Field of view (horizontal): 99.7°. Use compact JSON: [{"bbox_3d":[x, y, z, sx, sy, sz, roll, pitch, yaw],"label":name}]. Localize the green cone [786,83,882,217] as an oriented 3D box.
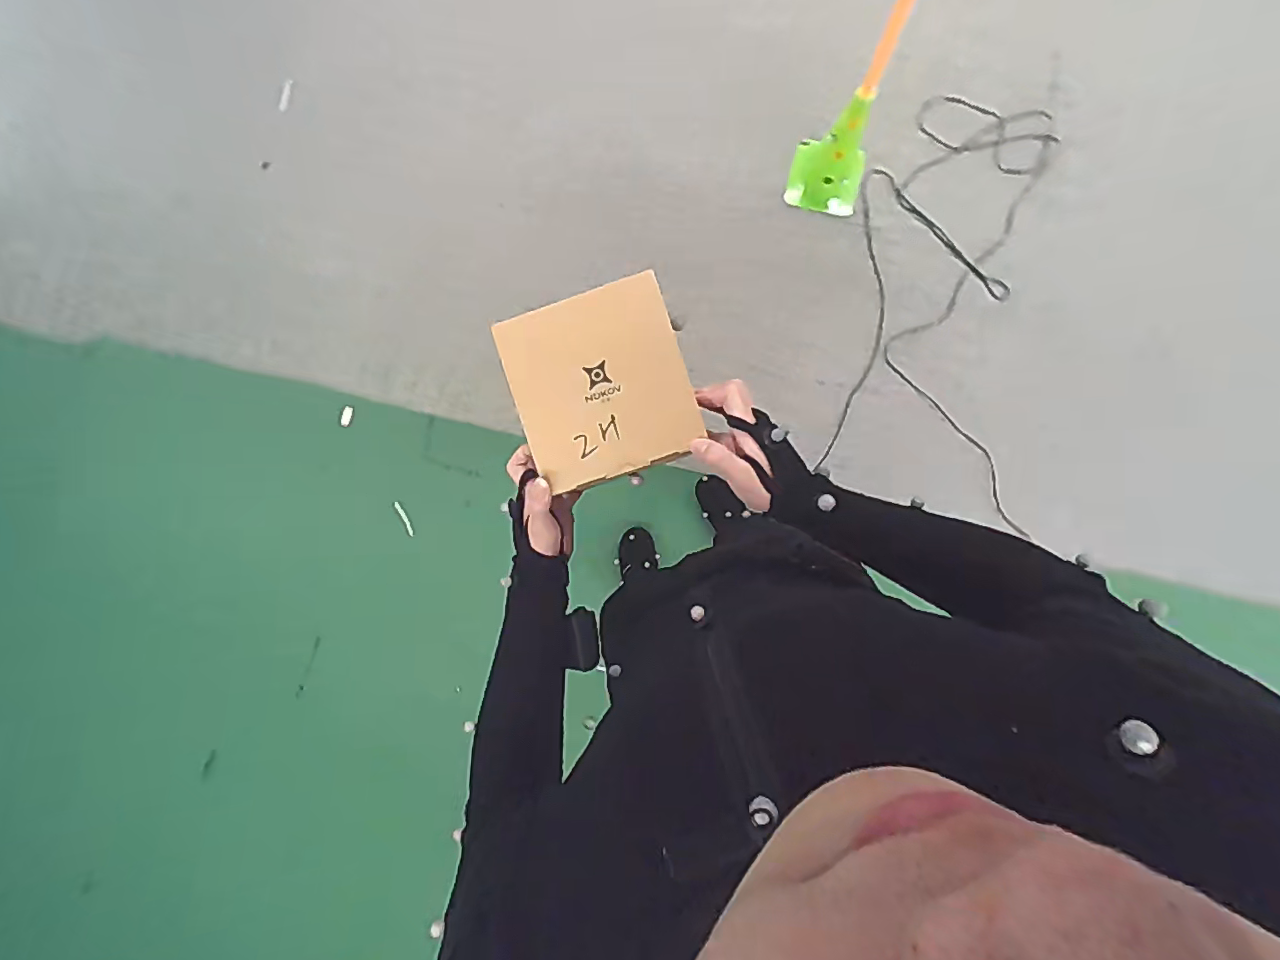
[{"bbox_3d":[0.534,-0.881,1.407,0.202,0.368,0.200,14,91,3],"label":"green cone"}]
